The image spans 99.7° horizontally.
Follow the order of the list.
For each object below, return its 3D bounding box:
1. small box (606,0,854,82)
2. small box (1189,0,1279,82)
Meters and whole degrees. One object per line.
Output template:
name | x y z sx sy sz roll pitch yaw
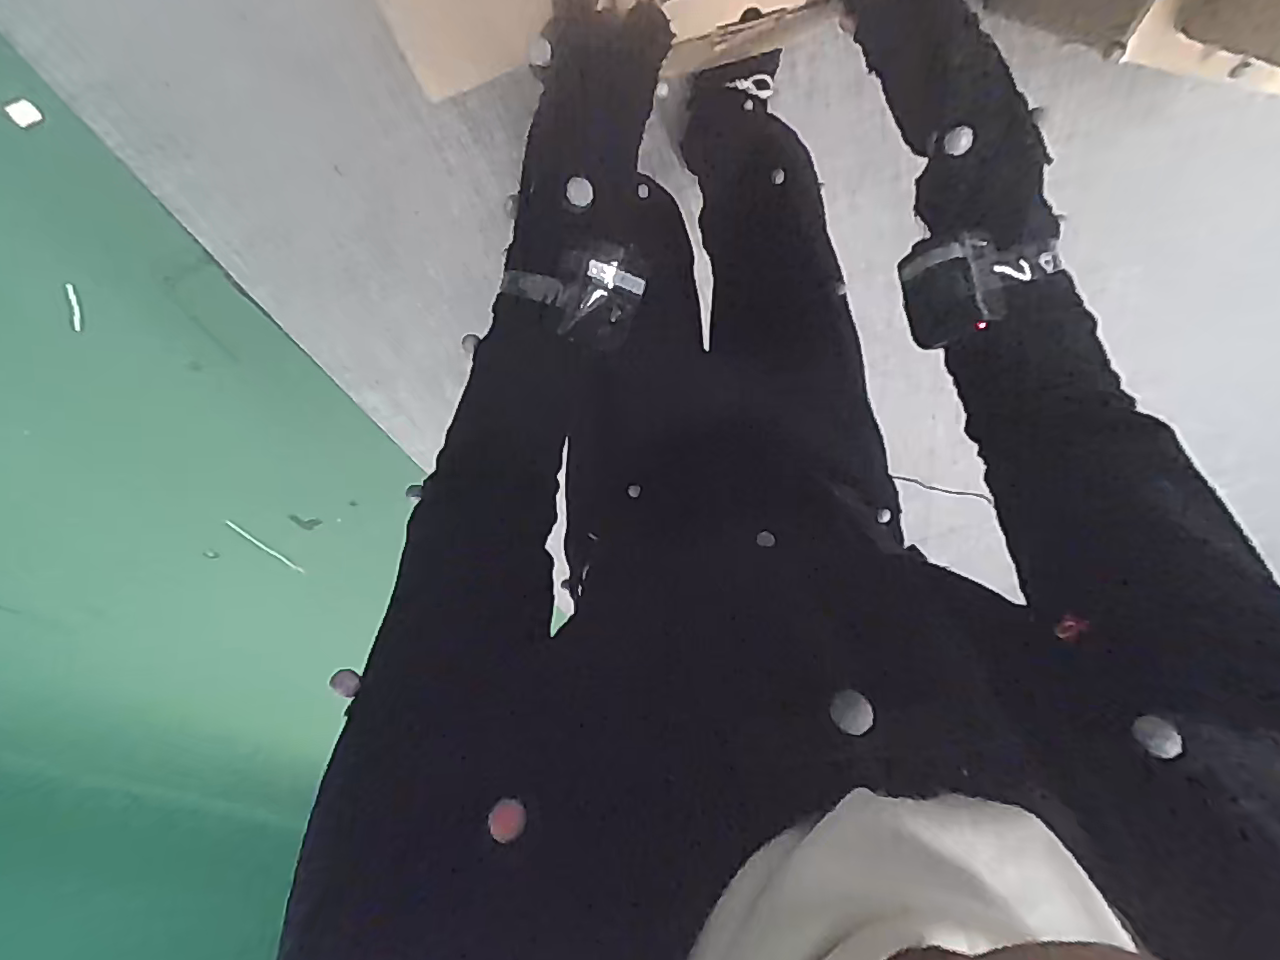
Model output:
small box | 0.049 -0.405 0.378 0.168 0.176 0.179 -12 118 6
small box | 0.706 -0.477 0.509 0.168 0.176 0.179 7 138 -9
